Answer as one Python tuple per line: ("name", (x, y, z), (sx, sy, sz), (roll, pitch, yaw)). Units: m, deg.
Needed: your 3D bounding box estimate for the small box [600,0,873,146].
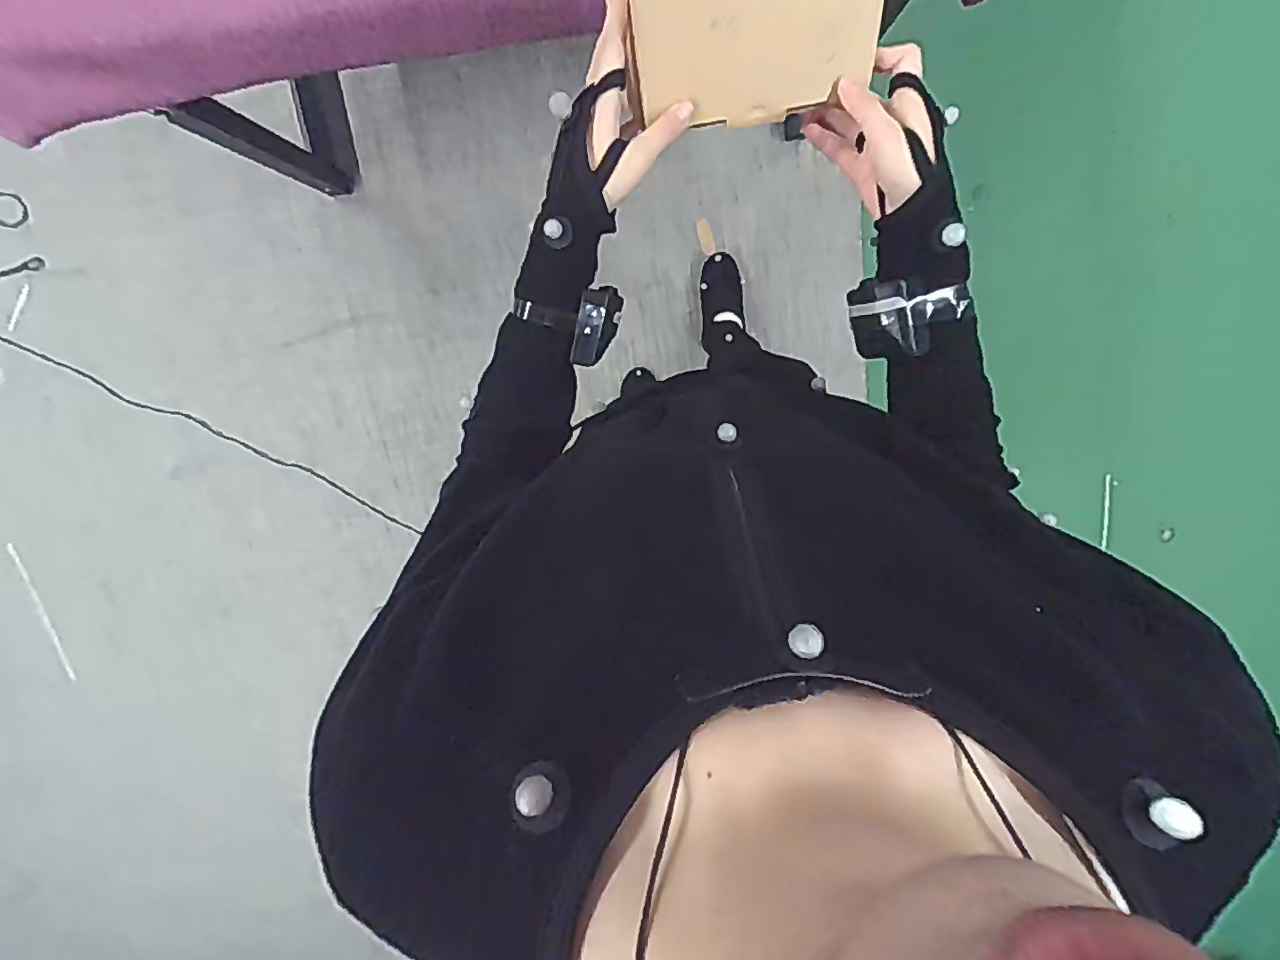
("small box", (0.058, -0.373, 0.387), (0.168, 0.176, 0.179), (-11, 137, -1))
